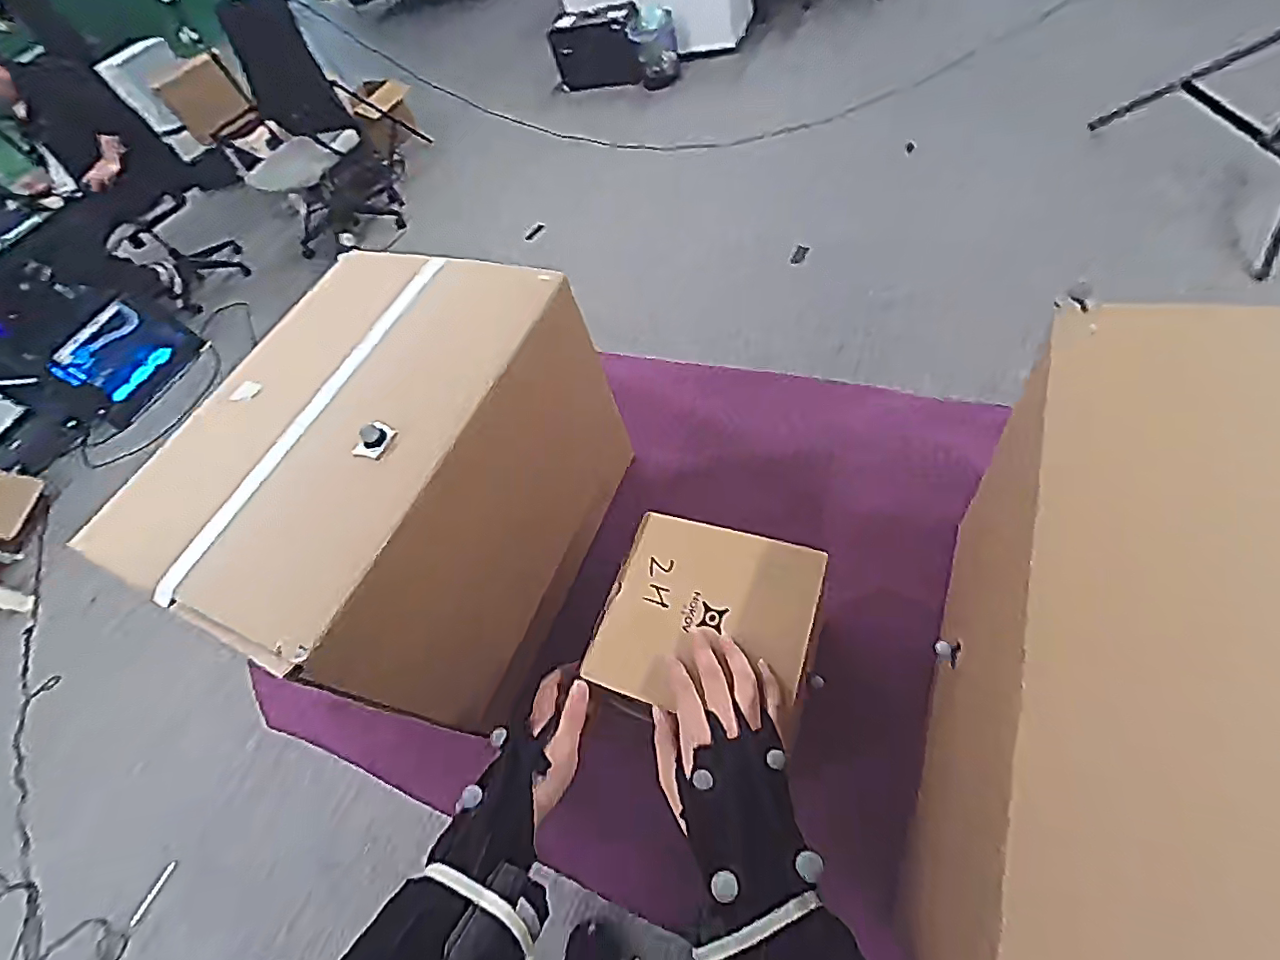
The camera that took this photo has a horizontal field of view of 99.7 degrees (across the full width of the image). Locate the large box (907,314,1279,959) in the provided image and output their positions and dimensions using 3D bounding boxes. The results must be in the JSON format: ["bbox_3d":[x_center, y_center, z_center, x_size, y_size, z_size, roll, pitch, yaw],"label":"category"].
[{"bbox_3d":[0.376,0.159,0.334,0.320,0.320,0.408,13,60,24],"label":"large box"}]
